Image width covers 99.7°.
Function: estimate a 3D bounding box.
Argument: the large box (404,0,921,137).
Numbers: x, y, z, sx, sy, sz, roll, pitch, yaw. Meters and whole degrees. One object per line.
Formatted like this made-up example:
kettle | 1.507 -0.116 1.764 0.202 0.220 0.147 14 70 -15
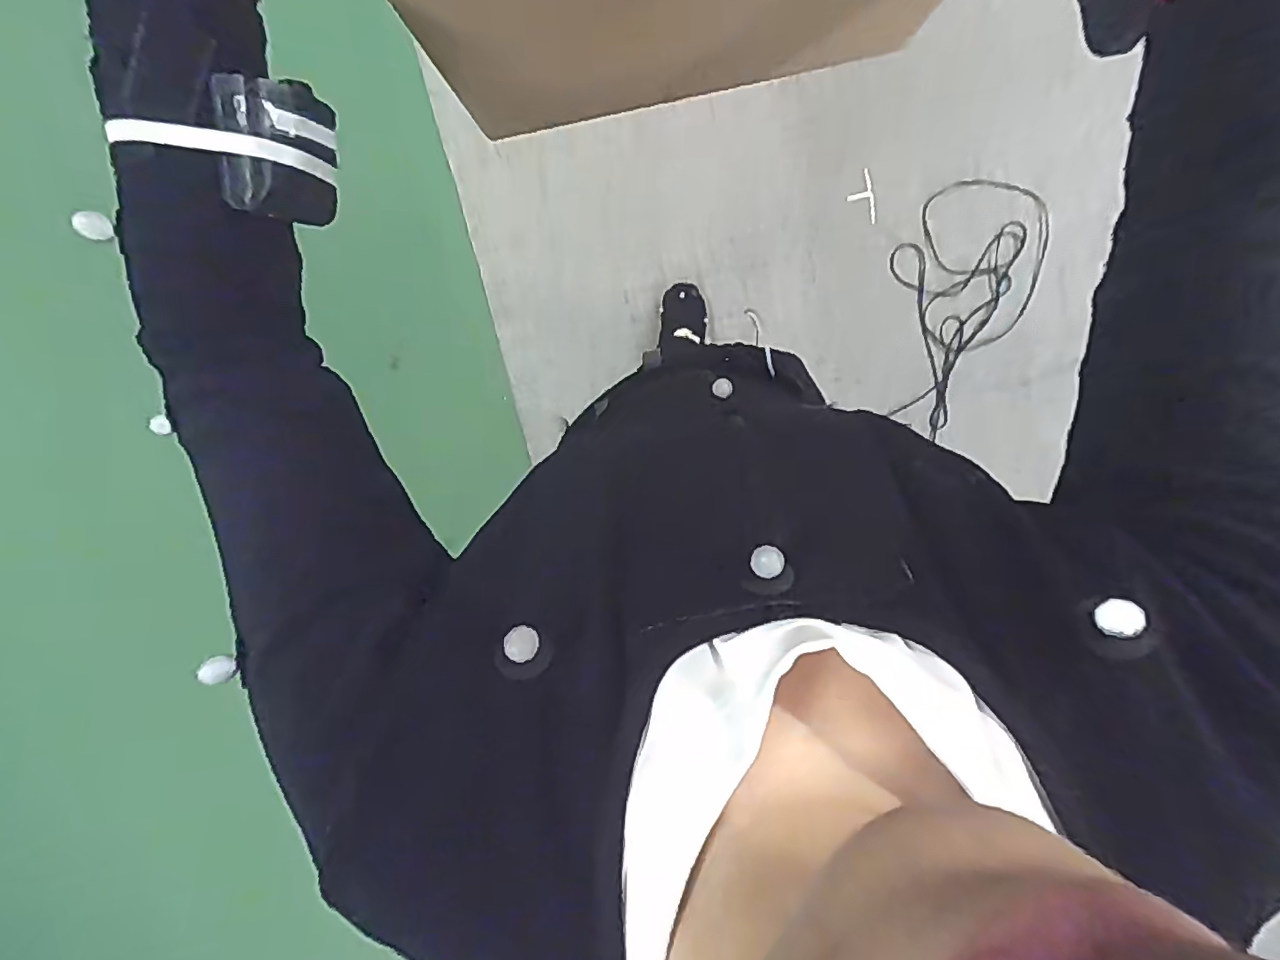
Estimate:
large box | 0.014 -0.484 0.341 0.408 0.320 0.320 -11 103 2
